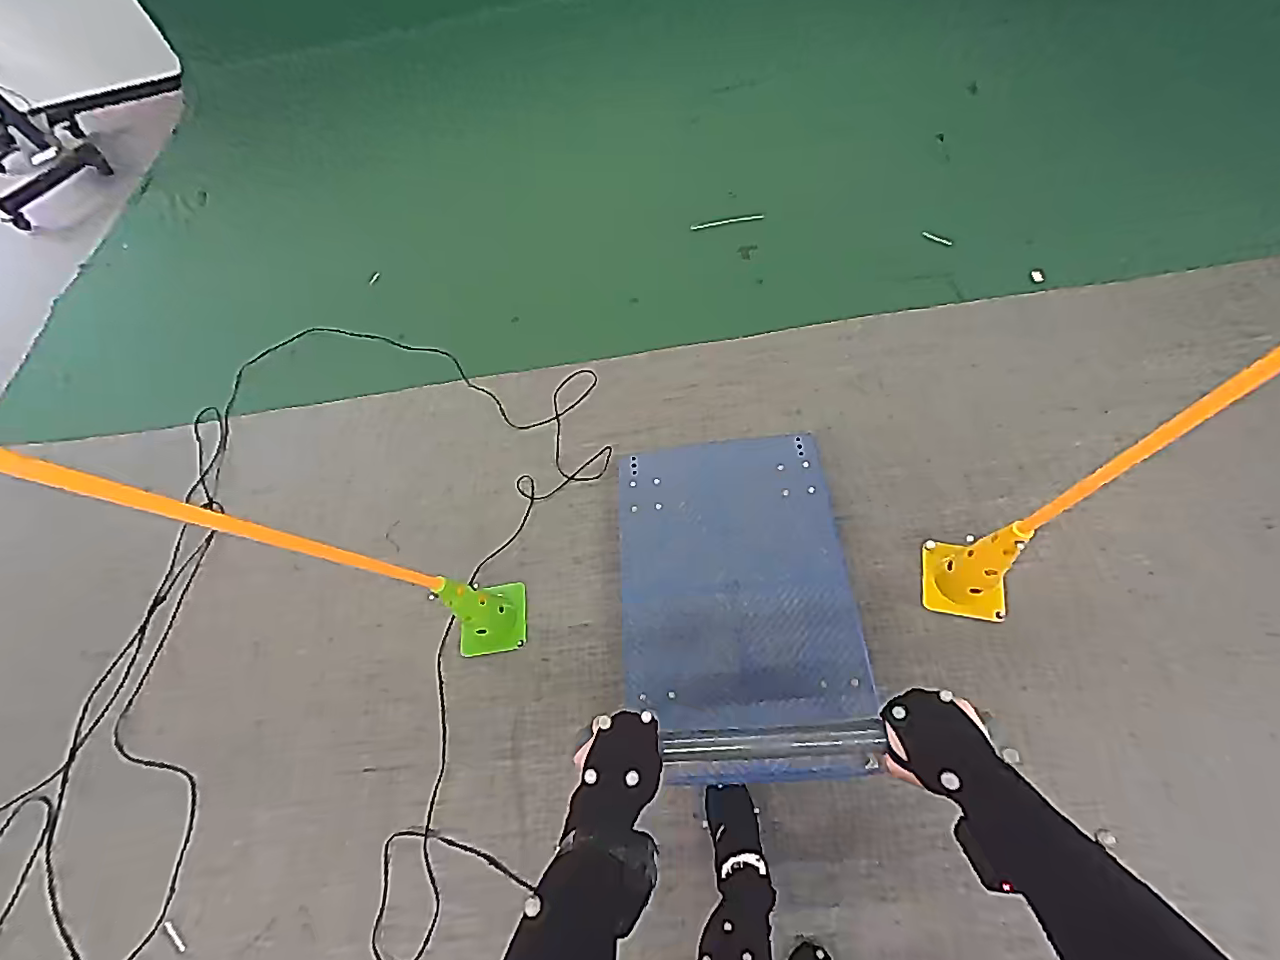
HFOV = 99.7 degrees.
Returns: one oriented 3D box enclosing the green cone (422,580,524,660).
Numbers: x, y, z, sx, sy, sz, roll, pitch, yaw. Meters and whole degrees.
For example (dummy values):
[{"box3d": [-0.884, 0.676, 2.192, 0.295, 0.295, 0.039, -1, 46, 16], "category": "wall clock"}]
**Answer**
[{"box3d": [-0.470, 0.340, 1.455, 0.202, 0.368, 0.200, -11, 60, 5], "category": "green cone"}]
